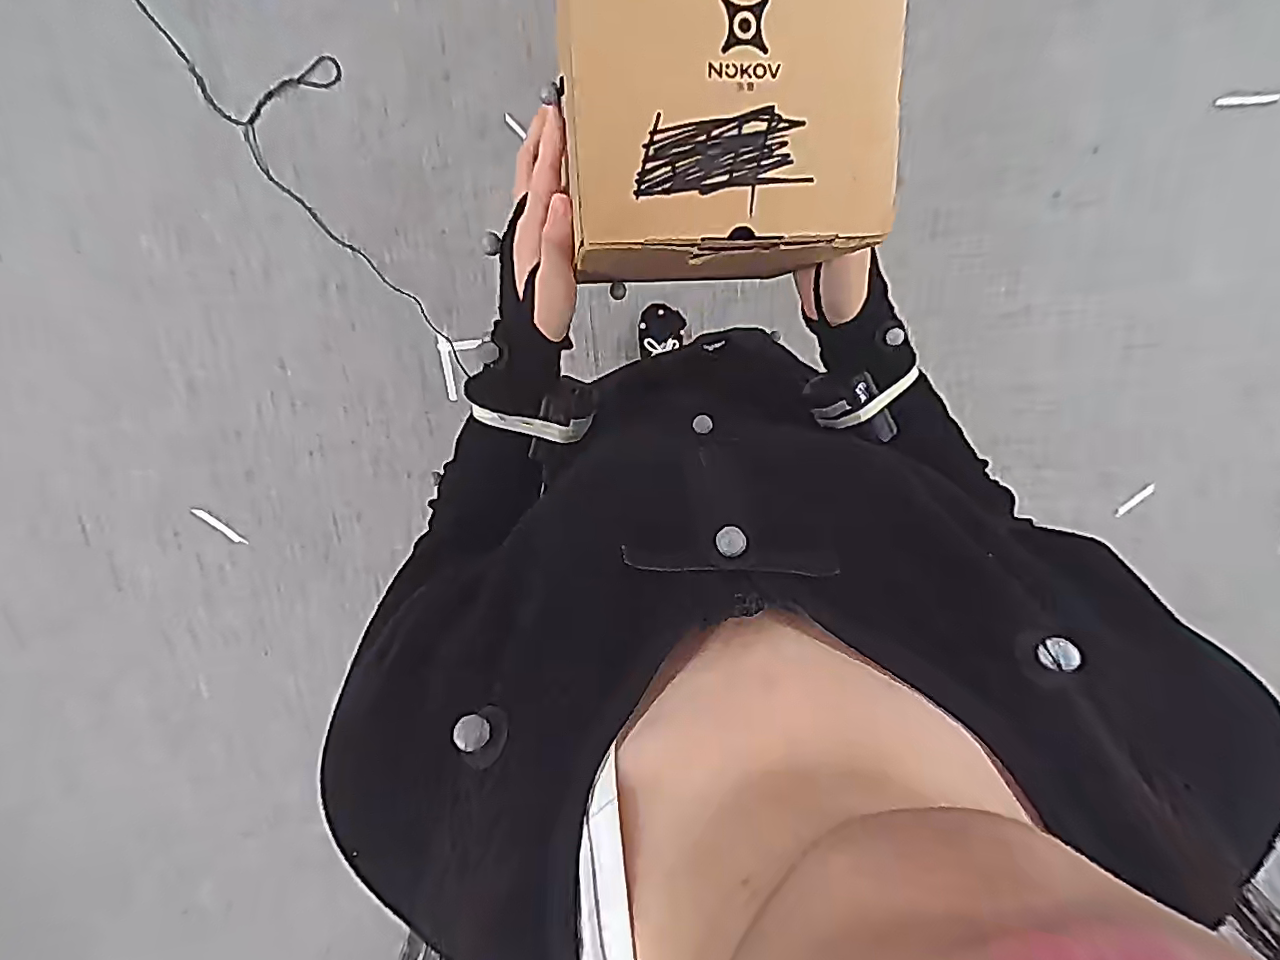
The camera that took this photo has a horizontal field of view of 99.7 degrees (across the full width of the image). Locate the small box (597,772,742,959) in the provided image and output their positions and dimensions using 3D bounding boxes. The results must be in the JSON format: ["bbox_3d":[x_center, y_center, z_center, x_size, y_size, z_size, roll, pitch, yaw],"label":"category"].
[{"bbox_3d":[0.034,0.530,0.744,0.179,0.176,0.168,-1,104,-2],"label":"small box"}]

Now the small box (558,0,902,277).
[{"bbox_3d":[0.037,-0.227,0.337,0.168,0.176,0.179,-5,103,-7],"label":"small box"}]
